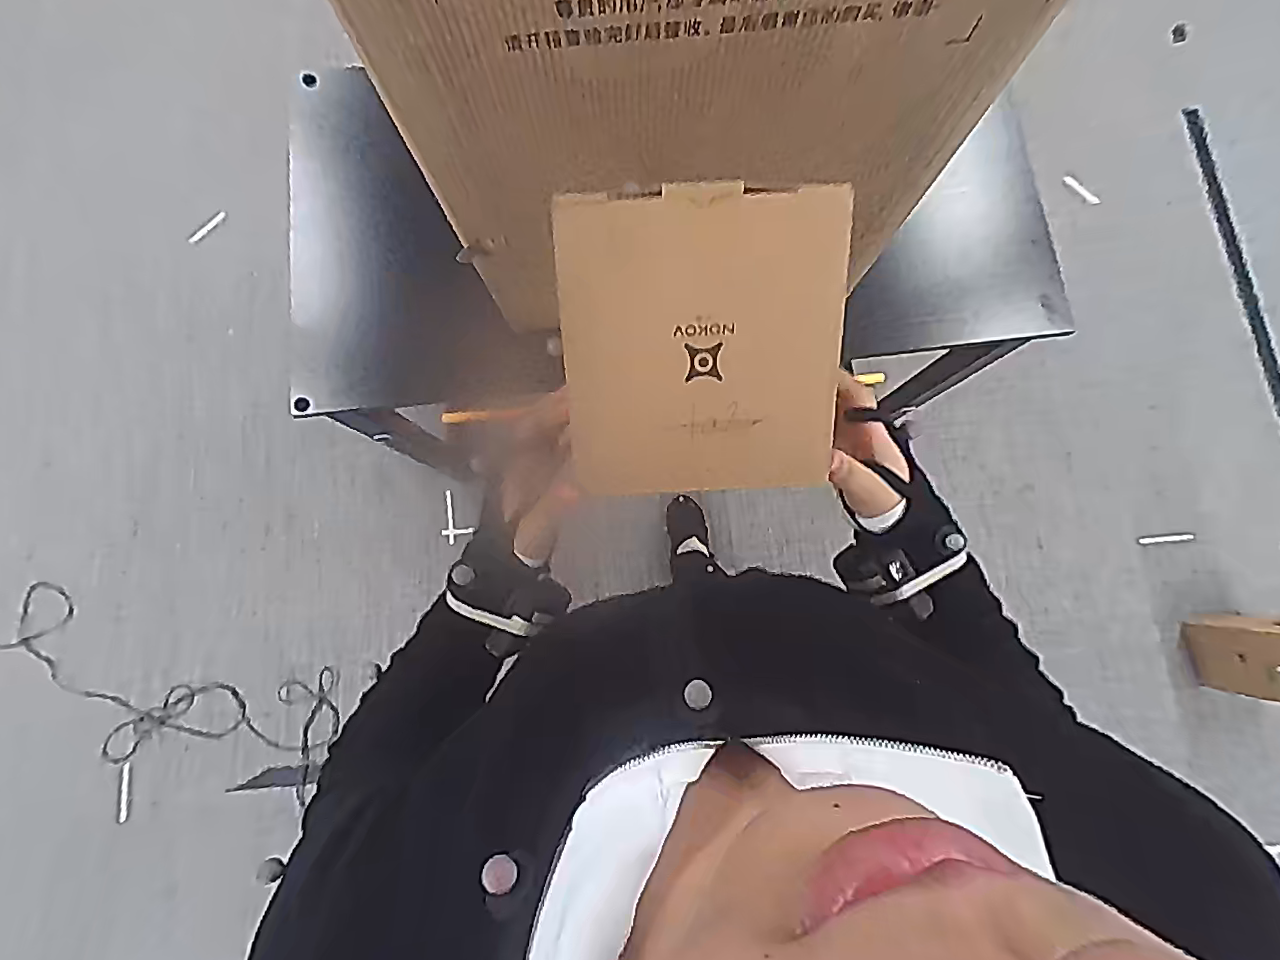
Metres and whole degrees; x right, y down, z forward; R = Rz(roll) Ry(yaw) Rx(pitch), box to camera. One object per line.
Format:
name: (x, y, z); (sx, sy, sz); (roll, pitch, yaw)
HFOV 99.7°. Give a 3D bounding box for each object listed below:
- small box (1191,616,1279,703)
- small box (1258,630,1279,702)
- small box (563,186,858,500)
small box: (1.569, 0.445, 1.368); (0.168, 0.176, 0.179); (-9, 81, -1)
small box: (1.569, 0.423, 1.205); (0.179, 0.176, 0.168); (-6, 80, 0)
small box: (0.037, -0.098, 0.392); (0.168, 0.176, 0.179); (-3, 109, -1)
